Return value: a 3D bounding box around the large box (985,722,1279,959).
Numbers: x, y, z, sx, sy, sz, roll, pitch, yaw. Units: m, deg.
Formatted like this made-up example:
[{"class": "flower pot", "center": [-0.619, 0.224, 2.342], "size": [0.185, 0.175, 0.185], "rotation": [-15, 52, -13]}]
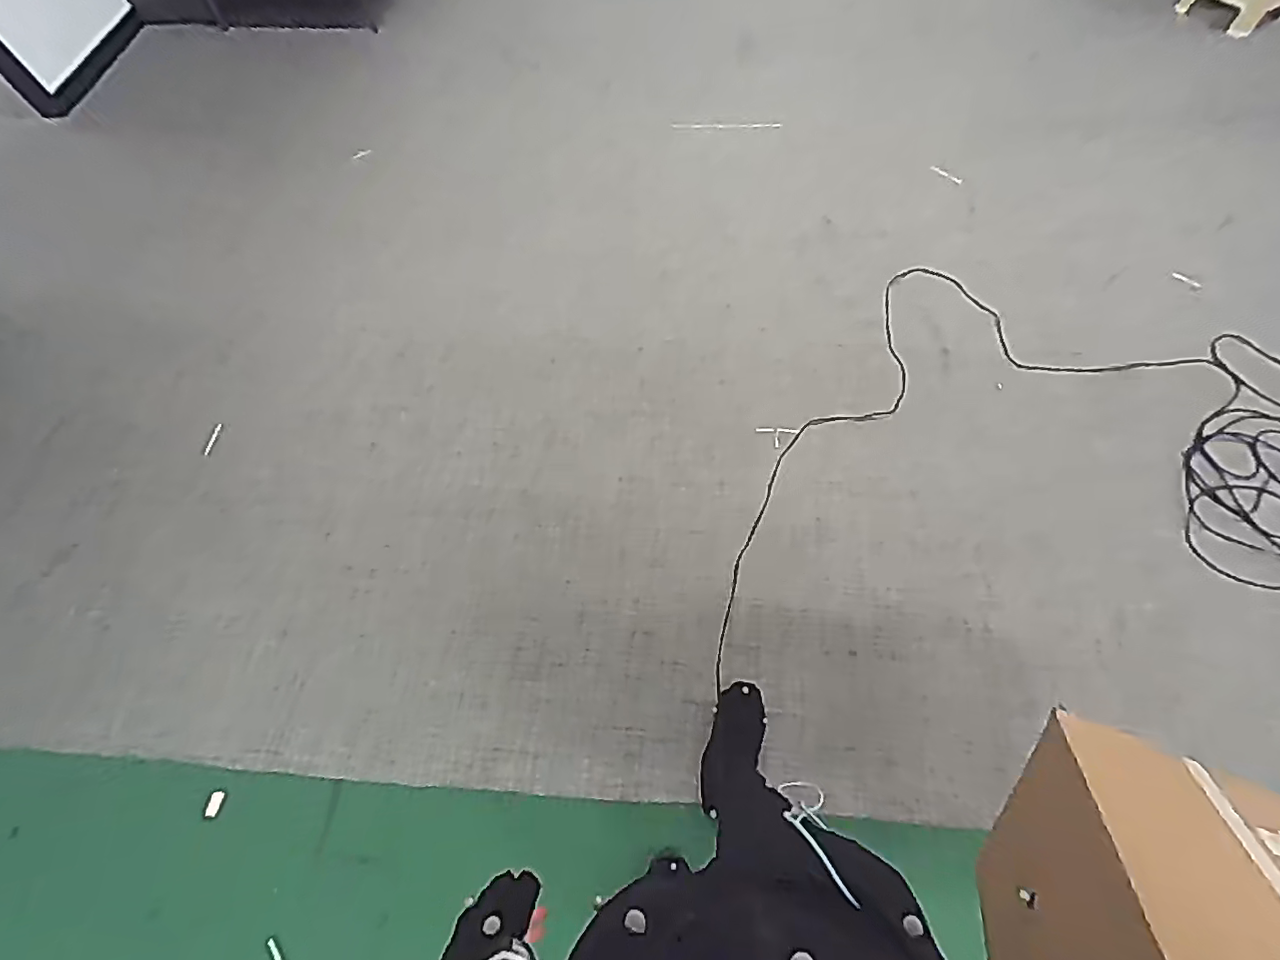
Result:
[{"class": "large box", "center": [0.637, 0.576, 0.610], "size": [0.320, 0.408, 0.320], "rotation": [20, 107, 22]}]
